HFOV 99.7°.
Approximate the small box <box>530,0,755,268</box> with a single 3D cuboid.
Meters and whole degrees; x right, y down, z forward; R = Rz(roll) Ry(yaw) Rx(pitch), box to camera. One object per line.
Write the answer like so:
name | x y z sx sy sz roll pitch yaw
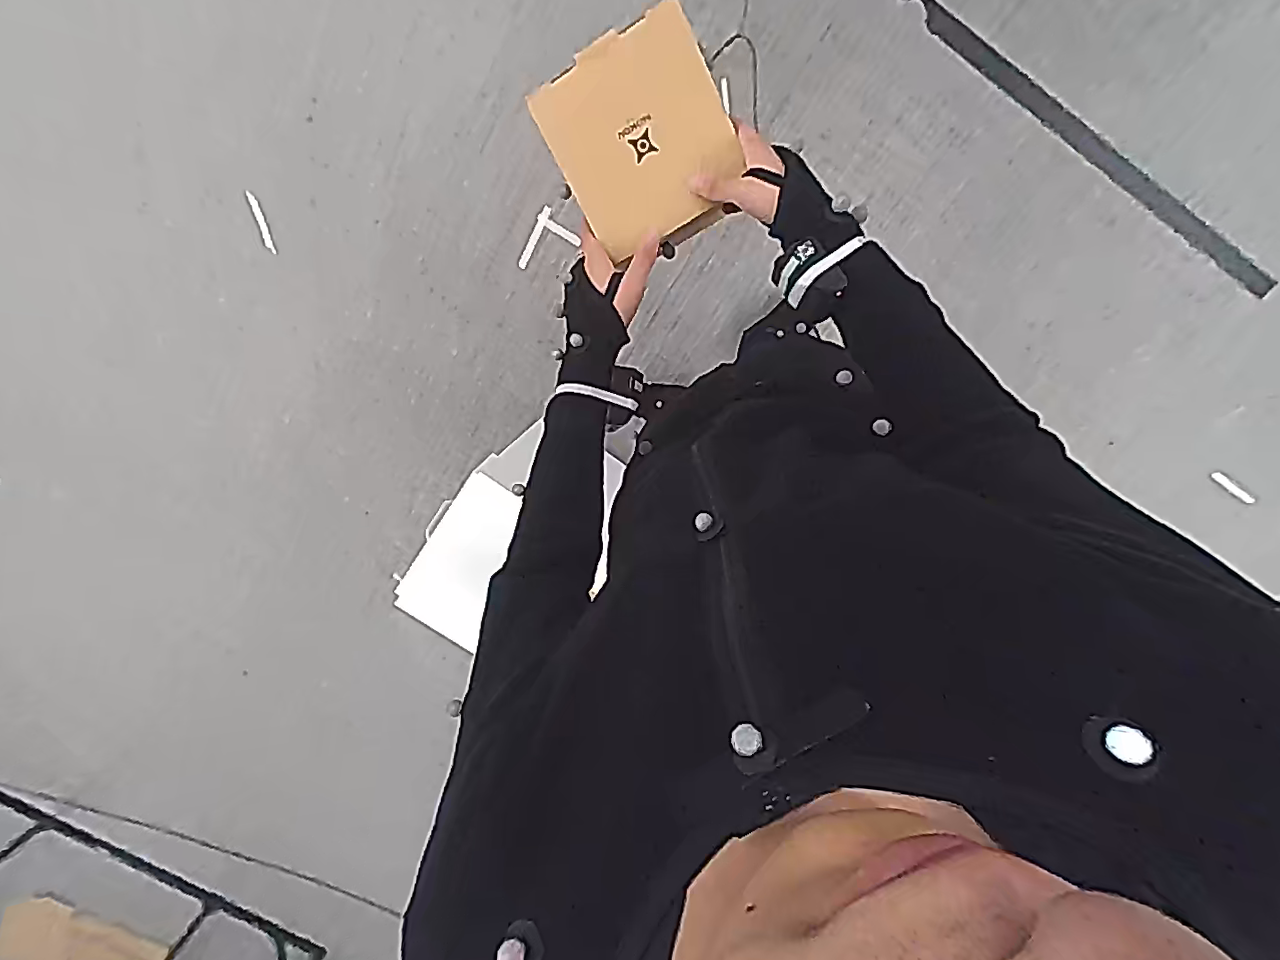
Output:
small box | 0.011 -0.354 0.600 0.168 0.176 0.179 -27 103 12
